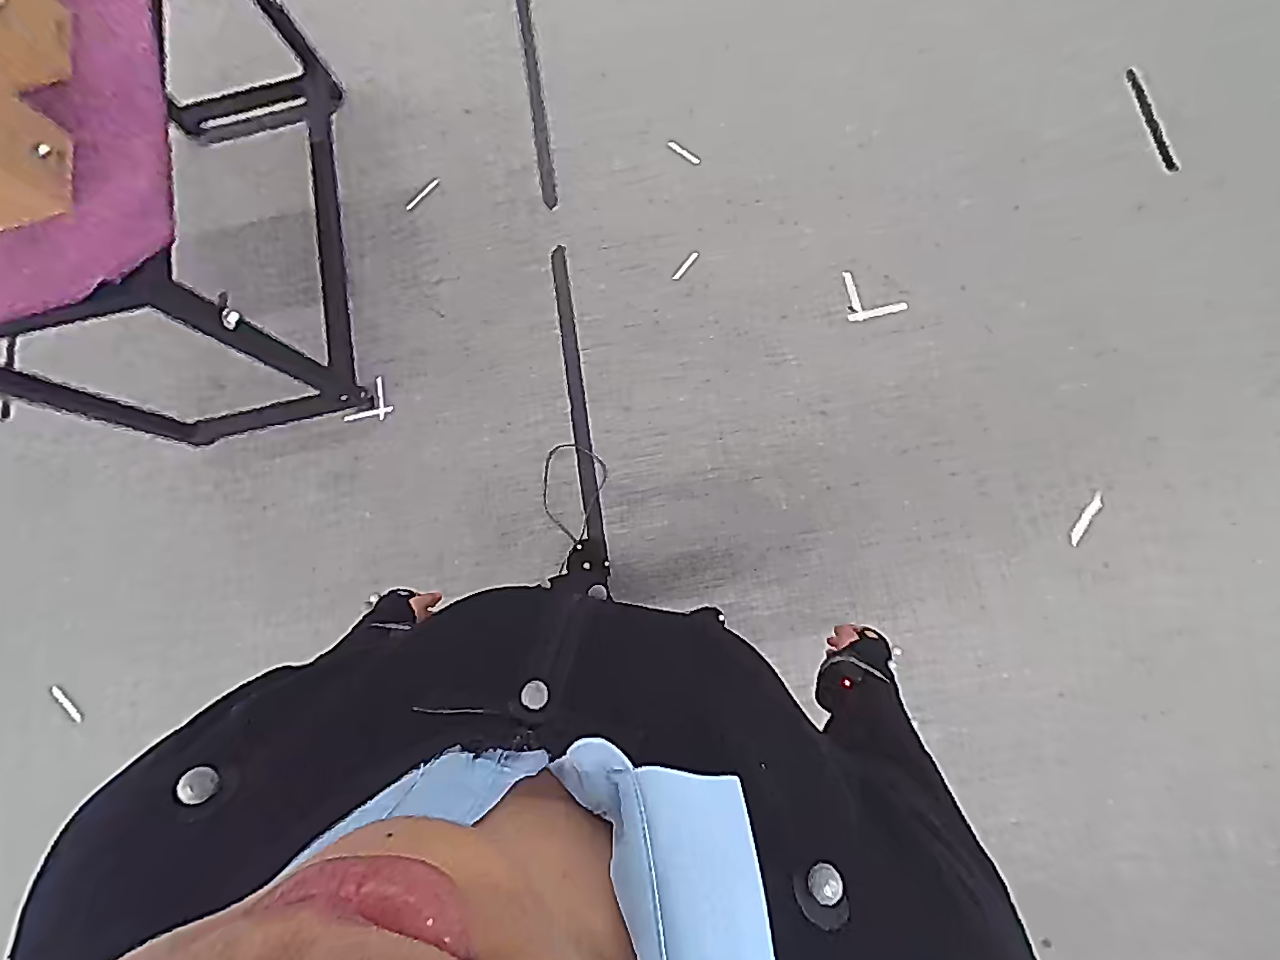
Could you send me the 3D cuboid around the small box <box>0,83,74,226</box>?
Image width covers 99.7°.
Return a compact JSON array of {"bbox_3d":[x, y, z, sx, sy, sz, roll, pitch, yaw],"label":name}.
[{"bbox_3d":[-1.118,-0.554,0.901,0.179,0.176,0.168,-13,78,2],"label":"small box"}]
